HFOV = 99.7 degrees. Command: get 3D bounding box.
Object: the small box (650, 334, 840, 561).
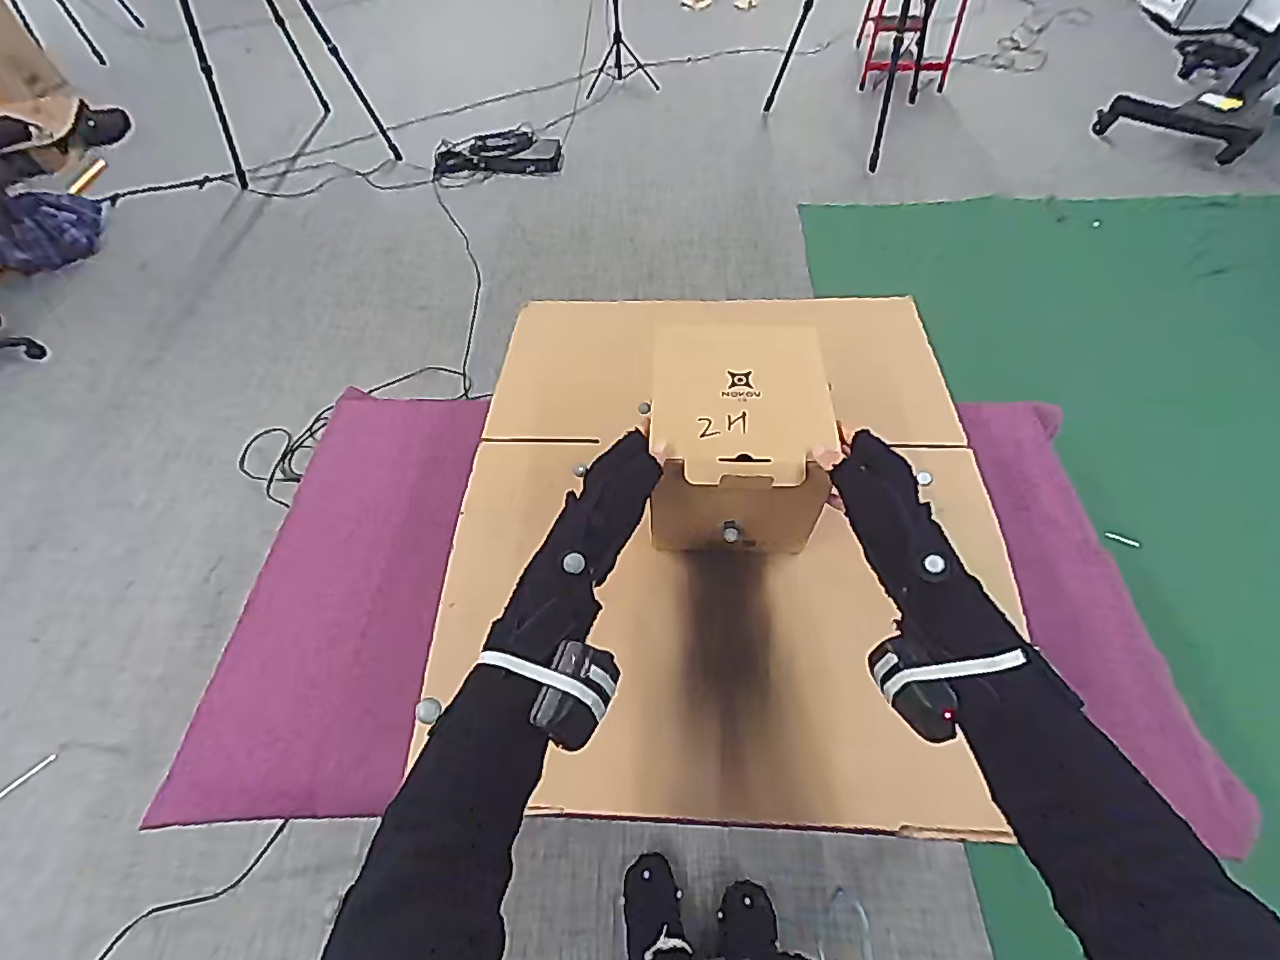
[{"bbox_3d":[0.098,-0.032,0.575,0.168,0.176,0.179,1,56,5],"label":"small box"}]
